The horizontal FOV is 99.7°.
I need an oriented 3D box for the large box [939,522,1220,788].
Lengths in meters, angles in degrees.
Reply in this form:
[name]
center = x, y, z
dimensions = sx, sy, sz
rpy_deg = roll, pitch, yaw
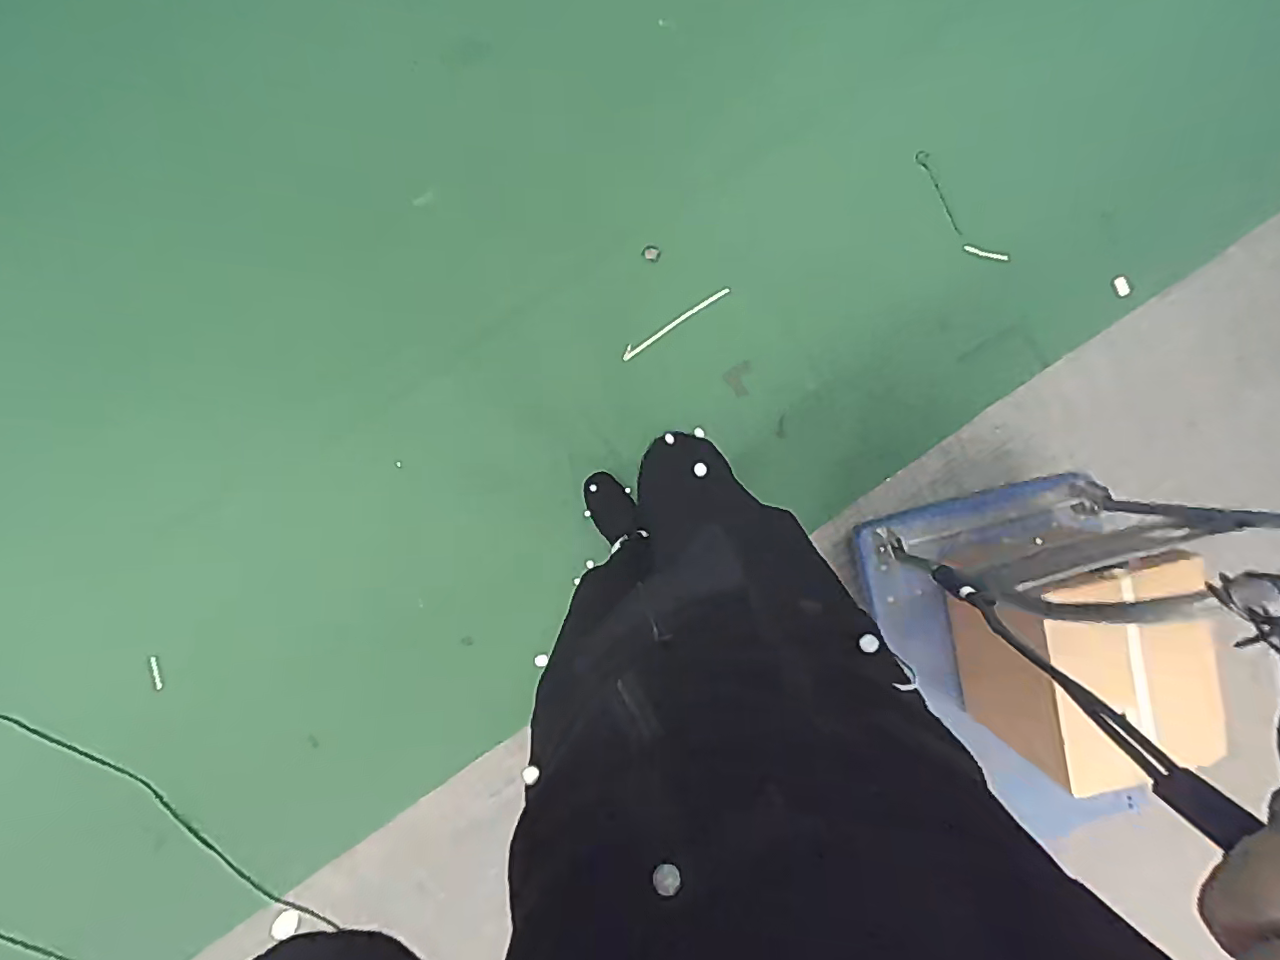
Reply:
[large box]
center = 0.898, 0.338, 1.146
dimensions = 0.320, 0.320, 0.408
rpy_deg = -13, 96, -1
